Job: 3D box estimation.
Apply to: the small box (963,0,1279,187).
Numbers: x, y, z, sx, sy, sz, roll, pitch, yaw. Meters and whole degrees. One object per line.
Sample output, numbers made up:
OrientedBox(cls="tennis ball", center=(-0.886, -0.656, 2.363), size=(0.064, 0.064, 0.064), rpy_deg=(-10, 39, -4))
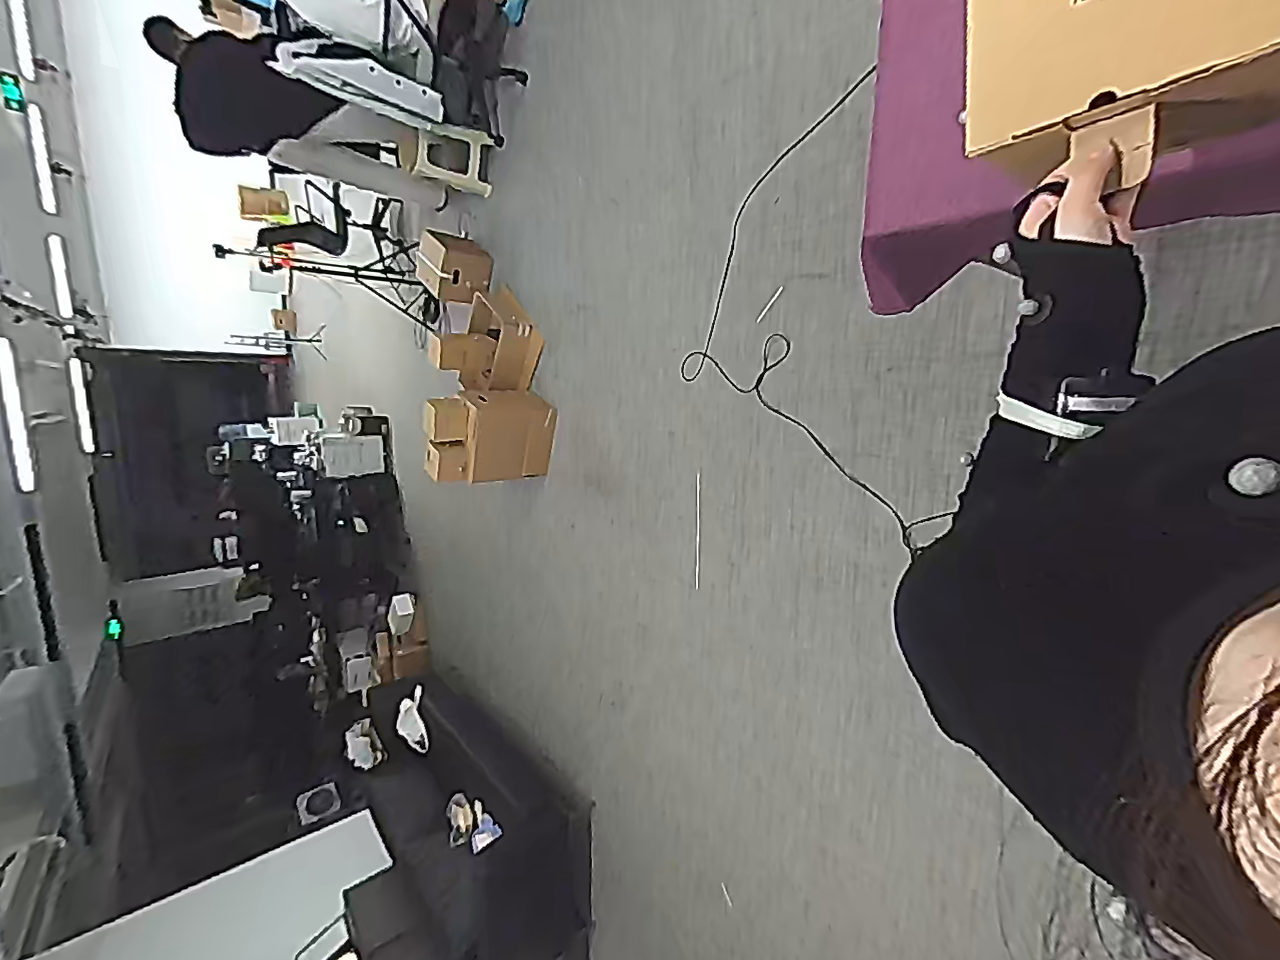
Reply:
OrientedBox(cls="small box", center=(0.368, -0.352, 0.412), size=(0.168, 0.176, 0.179), rpy_deg=(6, 105, 49))
